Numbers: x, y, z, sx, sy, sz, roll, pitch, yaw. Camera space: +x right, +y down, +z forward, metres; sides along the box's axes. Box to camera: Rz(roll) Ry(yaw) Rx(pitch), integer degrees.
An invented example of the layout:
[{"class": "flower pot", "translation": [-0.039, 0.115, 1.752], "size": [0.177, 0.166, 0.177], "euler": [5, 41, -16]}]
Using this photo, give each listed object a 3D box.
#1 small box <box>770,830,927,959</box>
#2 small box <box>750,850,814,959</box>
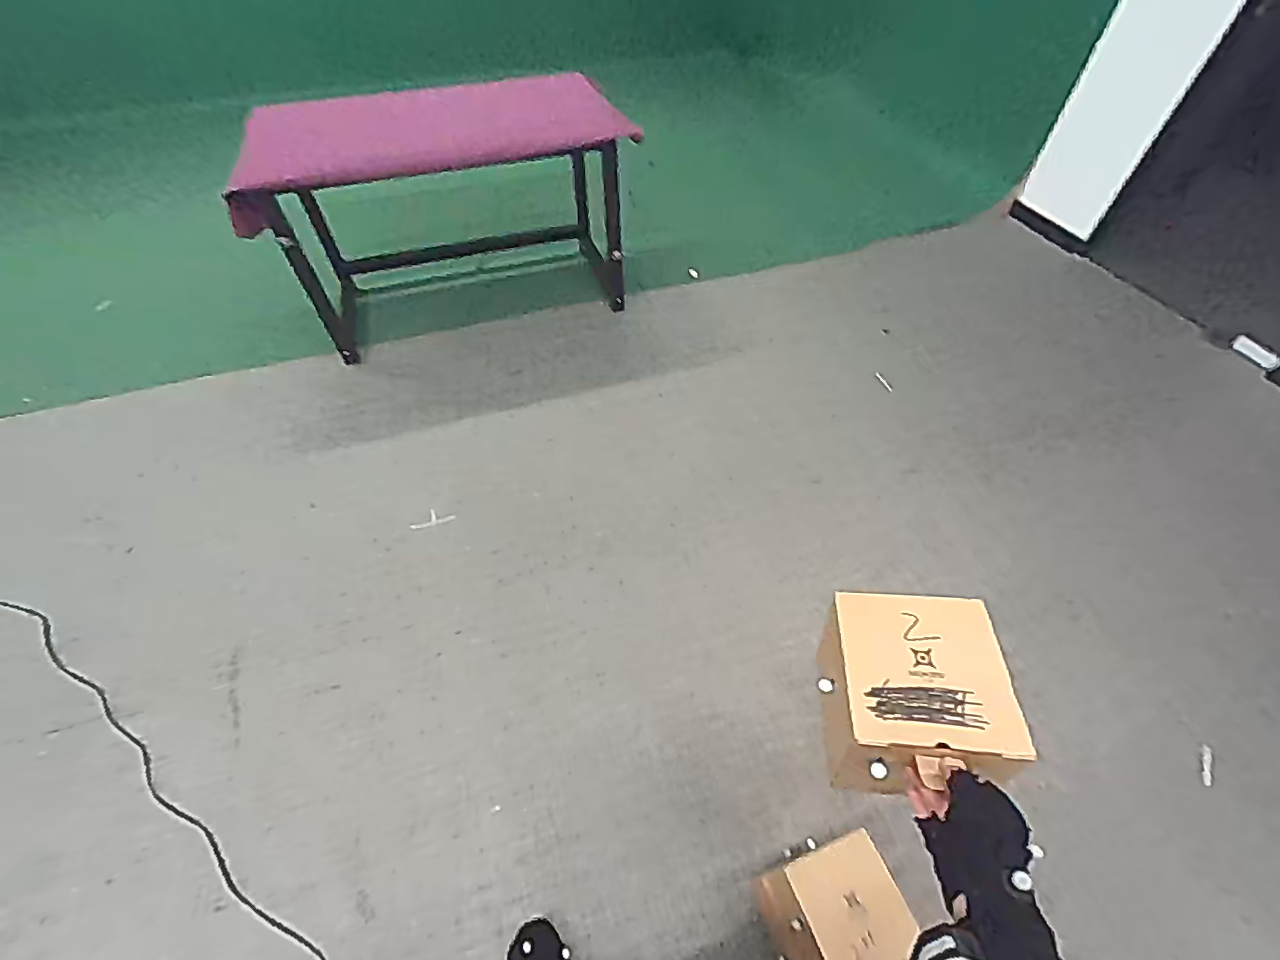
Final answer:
[{"class": "small box", "translation": [0.348, 0.752, 0.947], "size": [0.168, 0.176, 0.179], "euler": [-17, 54, -13]}, {"class": "small box", "translation": [0.339, 0.858, 1.072], "size": [0.168, 0.176, 0.179], "euler": [-16, 54, -13]}]
